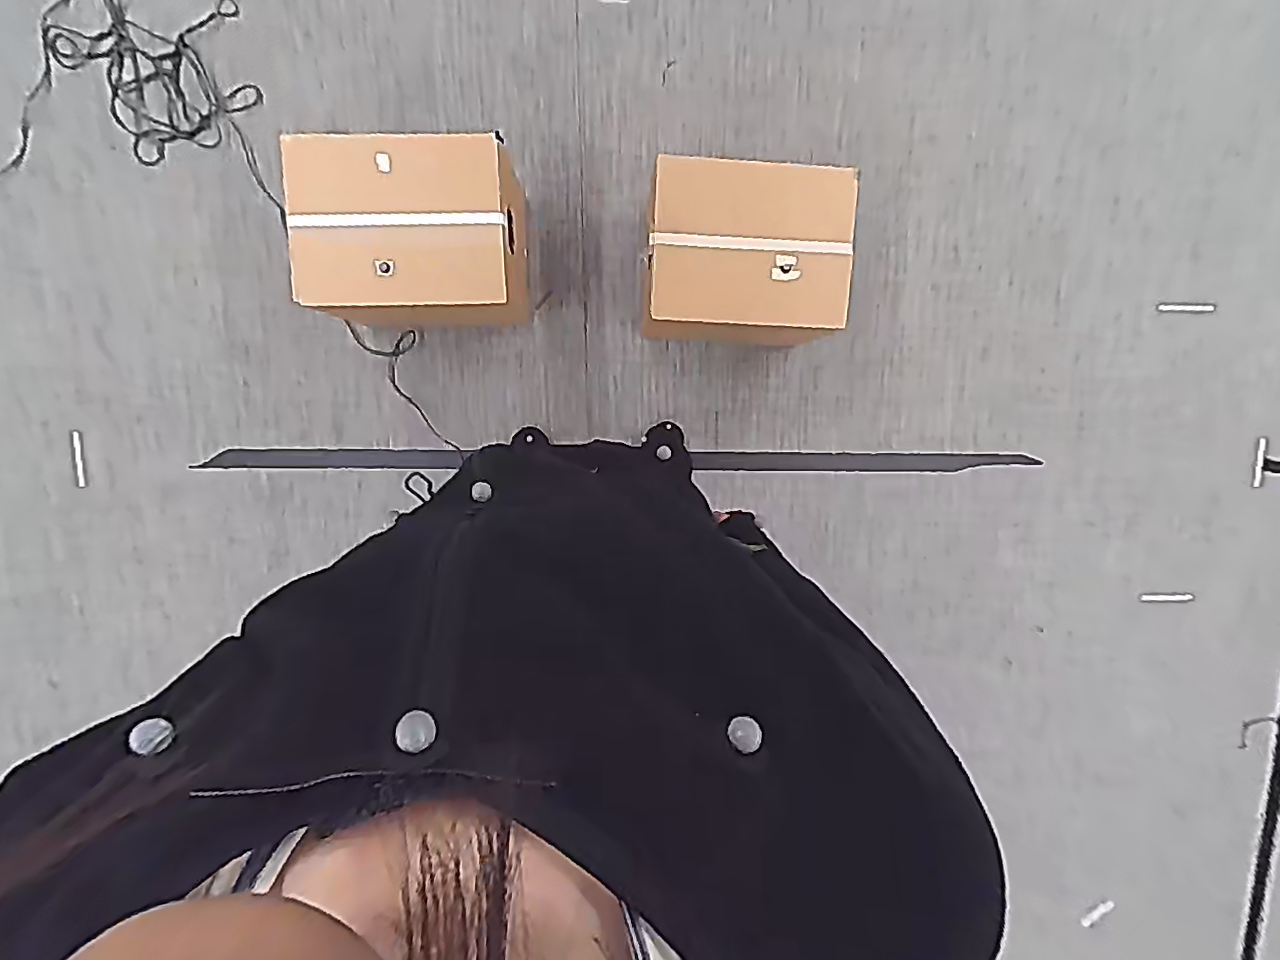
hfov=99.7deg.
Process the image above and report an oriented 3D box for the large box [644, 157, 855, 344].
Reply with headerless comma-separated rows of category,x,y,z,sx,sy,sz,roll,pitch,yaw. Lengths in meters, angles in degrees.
large box,0.219,-0.492,1.235,0.408,0.320,0.320,2,97,-4
